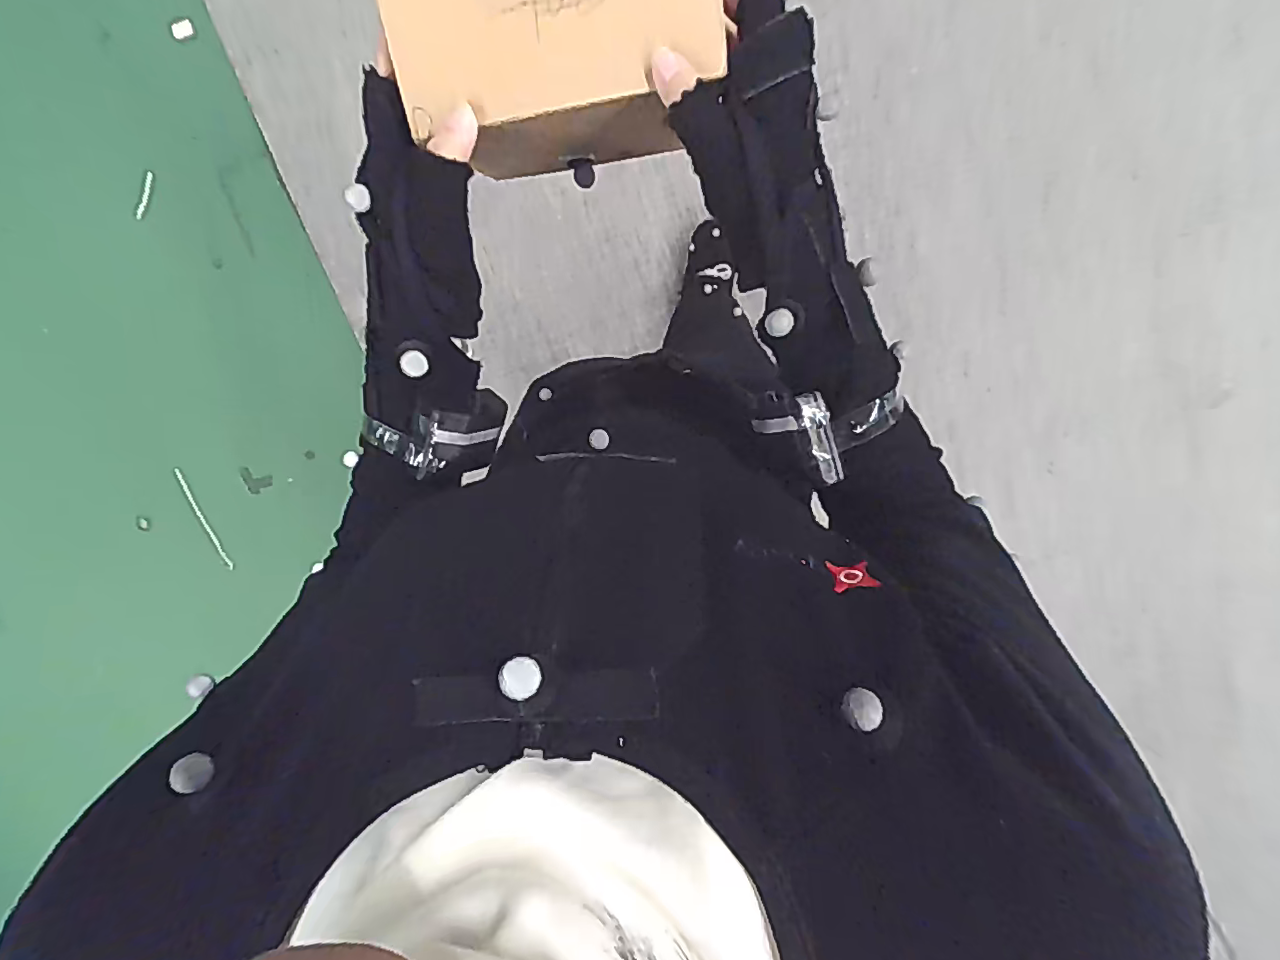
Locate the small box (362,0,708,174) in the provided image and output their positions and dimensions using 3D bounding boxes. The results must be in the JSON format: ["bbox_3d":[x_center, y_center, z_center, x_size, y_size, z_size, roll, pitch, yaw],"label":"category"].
[{"bbox_3d":[-0.054,-0.301,0.316,0.168,0.176,0.179,-6,112,6],"label":"small box"}]
